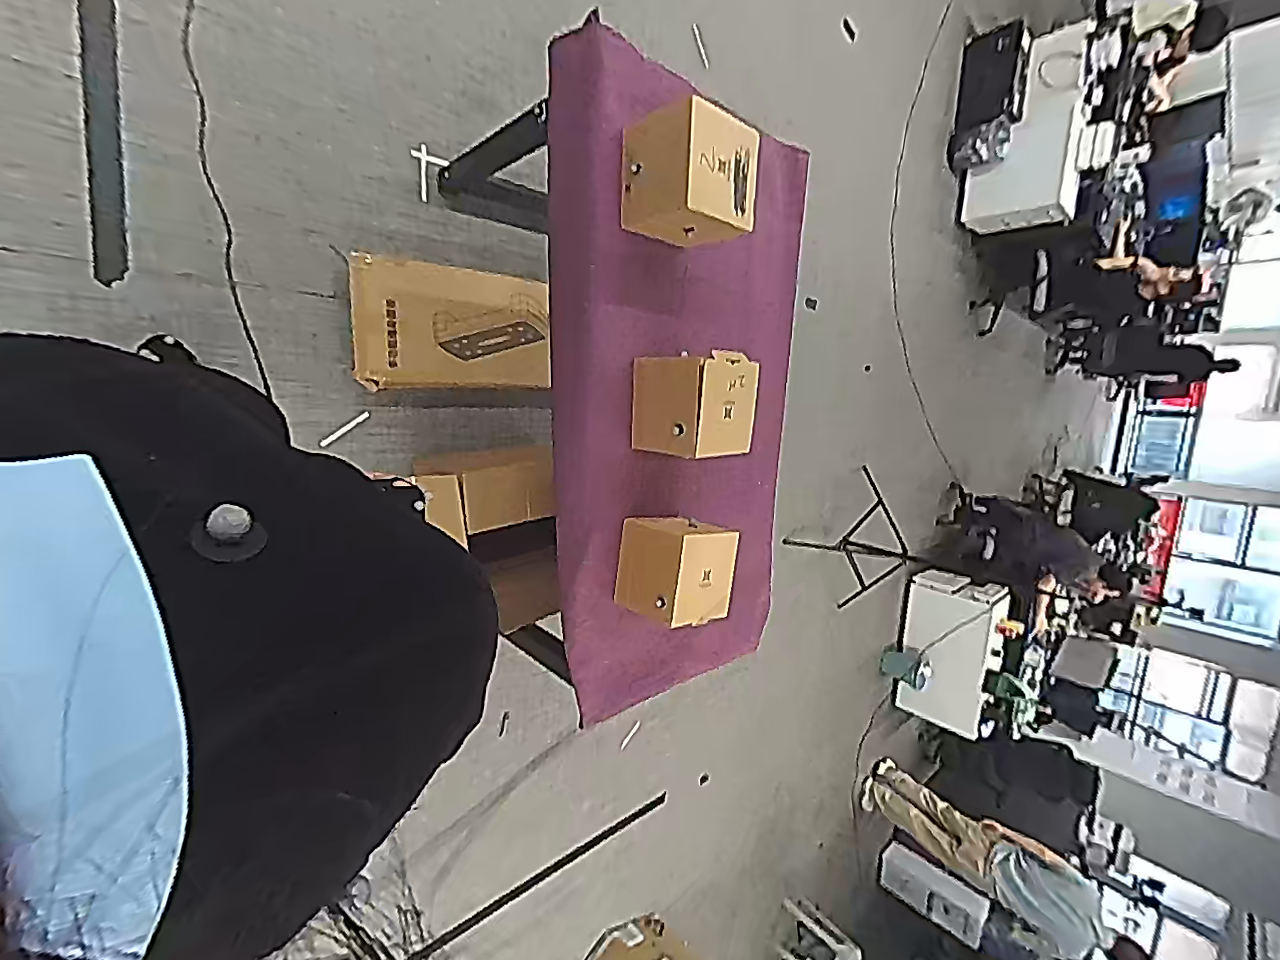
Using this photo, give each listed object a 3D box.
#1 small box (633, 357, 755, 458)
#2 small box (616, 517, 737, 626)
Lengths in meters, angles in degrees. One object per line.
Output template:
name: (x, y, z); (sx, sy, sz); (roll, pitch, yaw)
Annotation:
small box: (0.100, -0.143, 1.042); (0.168, 0.176, 0.179); (-8, 104, -44)
small box: (0.070, 0.171, 1.082); (0.168, 0.176, 0.179); (3, 97, -43)
